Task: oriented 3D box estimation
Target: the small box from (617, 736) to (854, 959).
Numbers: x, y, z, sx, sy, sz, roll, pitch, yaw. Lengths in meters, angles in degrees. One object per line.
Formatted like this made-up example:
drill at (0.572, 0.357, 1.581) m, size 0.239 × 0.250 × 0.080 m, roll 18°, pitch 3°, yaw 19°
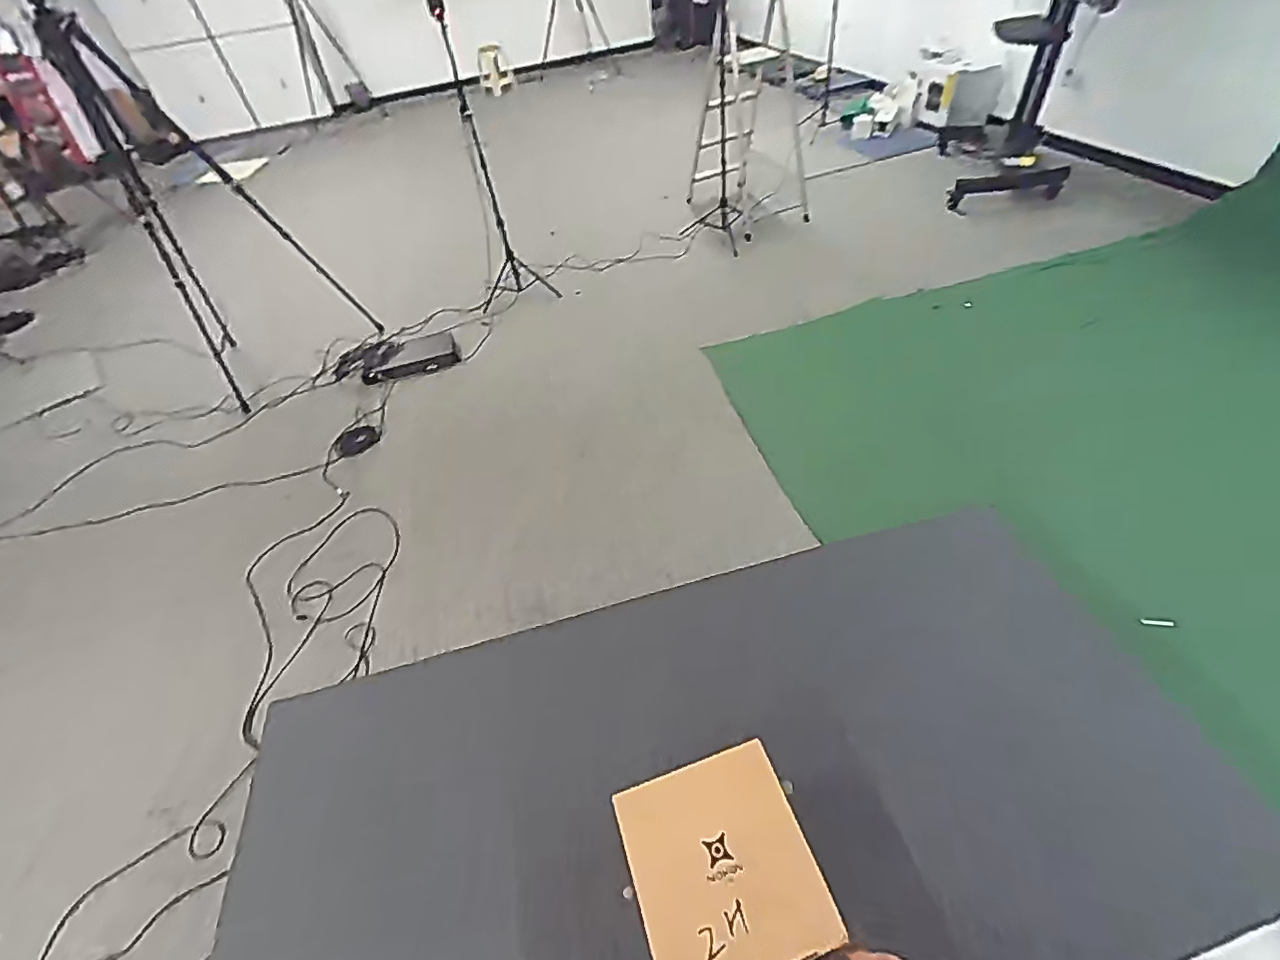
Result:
small box at (0.085, 0.401, 0.551) m, size 0.168 × 0.176 × 0.179 m, roll -18°, pitch 46°, yaw -7°
